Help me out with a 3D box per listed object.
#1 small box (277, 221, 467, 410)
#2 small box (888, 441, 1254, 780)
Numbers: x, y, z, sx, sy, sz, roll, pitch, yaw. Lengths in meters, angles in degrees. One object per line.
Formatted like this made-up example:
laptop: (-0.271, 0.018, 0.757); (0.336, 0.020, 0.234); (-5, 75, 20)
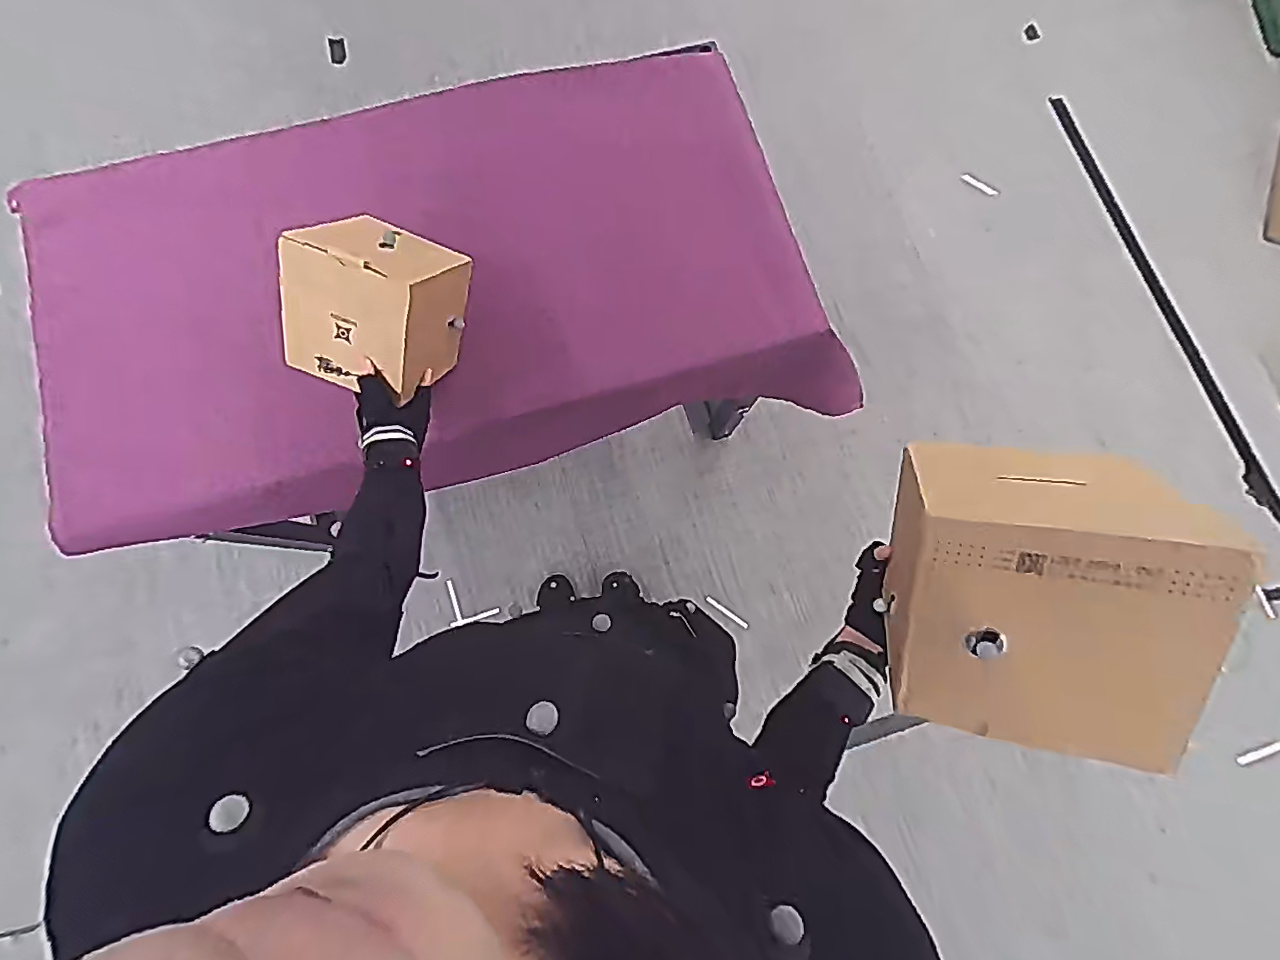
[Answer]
small box: (-0.354, -0.231, 0.734); (0.168, 0.176, 0.179); (22, 124, -2)
small box: (0.289, 0.074, 0.406); (0.168, 0.179, 0.176); (7, 112, 20)
